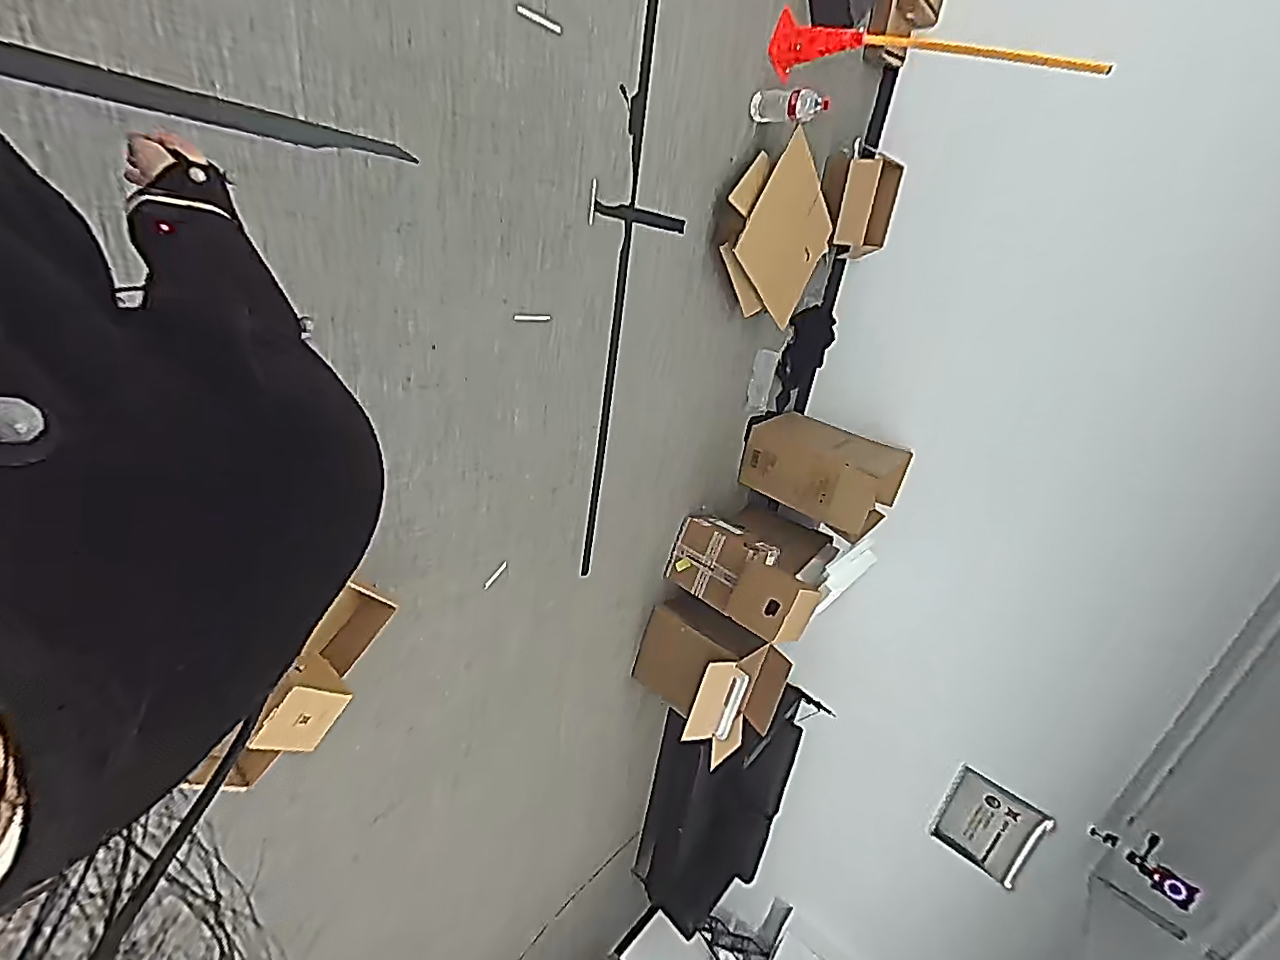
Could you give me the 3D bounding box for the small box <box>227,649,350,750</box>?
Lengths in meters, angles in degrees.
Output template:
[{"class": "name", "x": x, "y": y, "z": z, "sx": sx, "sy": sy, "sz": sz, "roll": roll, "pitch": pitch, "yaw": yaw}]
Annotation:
[{"class": "small box", "x": -0.891, "y": 0.552, "z": 1.367, "sx": 0.168, "sy": 0.176, "sz": 0.179, "roll": -55, "pitch": 146, "yaw": -10}]
